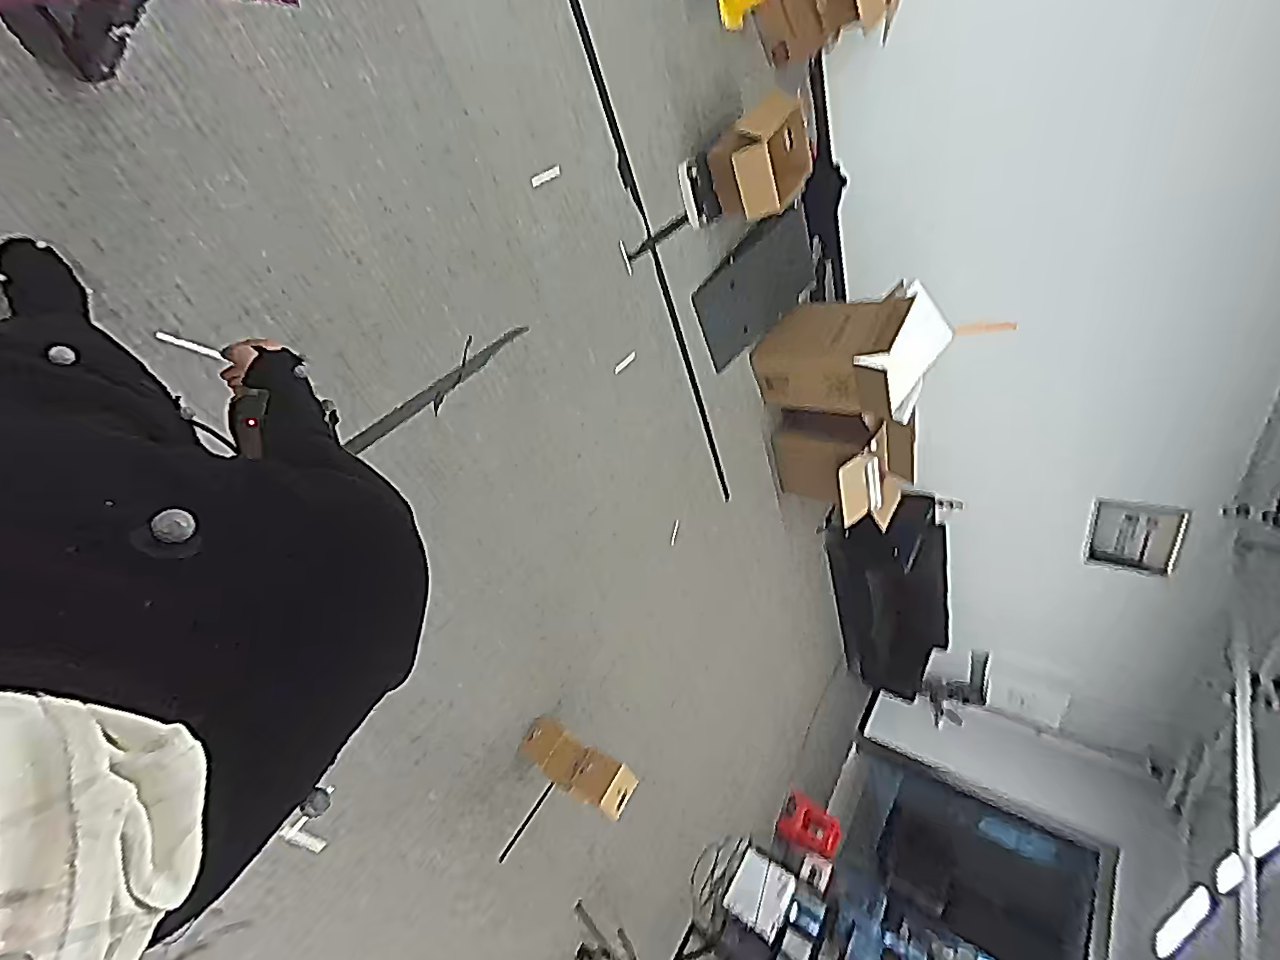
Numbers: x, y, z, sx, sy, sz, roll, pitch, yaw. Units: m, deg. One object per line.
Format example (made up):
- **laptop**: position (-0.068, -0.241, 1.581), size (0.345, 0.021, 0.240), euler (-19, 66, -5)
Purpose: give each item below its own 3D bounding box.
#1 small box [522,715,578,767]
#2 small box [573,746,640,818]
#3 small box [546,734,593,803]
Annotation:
- **small box**: position (-0.380, 1.164, 2.370), size (0.168, 0.176, 0.179), euler (-53, 134, -29)
- **small box**: position (-0.133, 1.197, 2.155), size (0.168, 0.176, 0.179), euler (-51, 133, -32)
- **small box**: position (-0.260, 1.200, 2.263), size (0.179, 0.176, 0.168), euler (-54, 135, -29)
